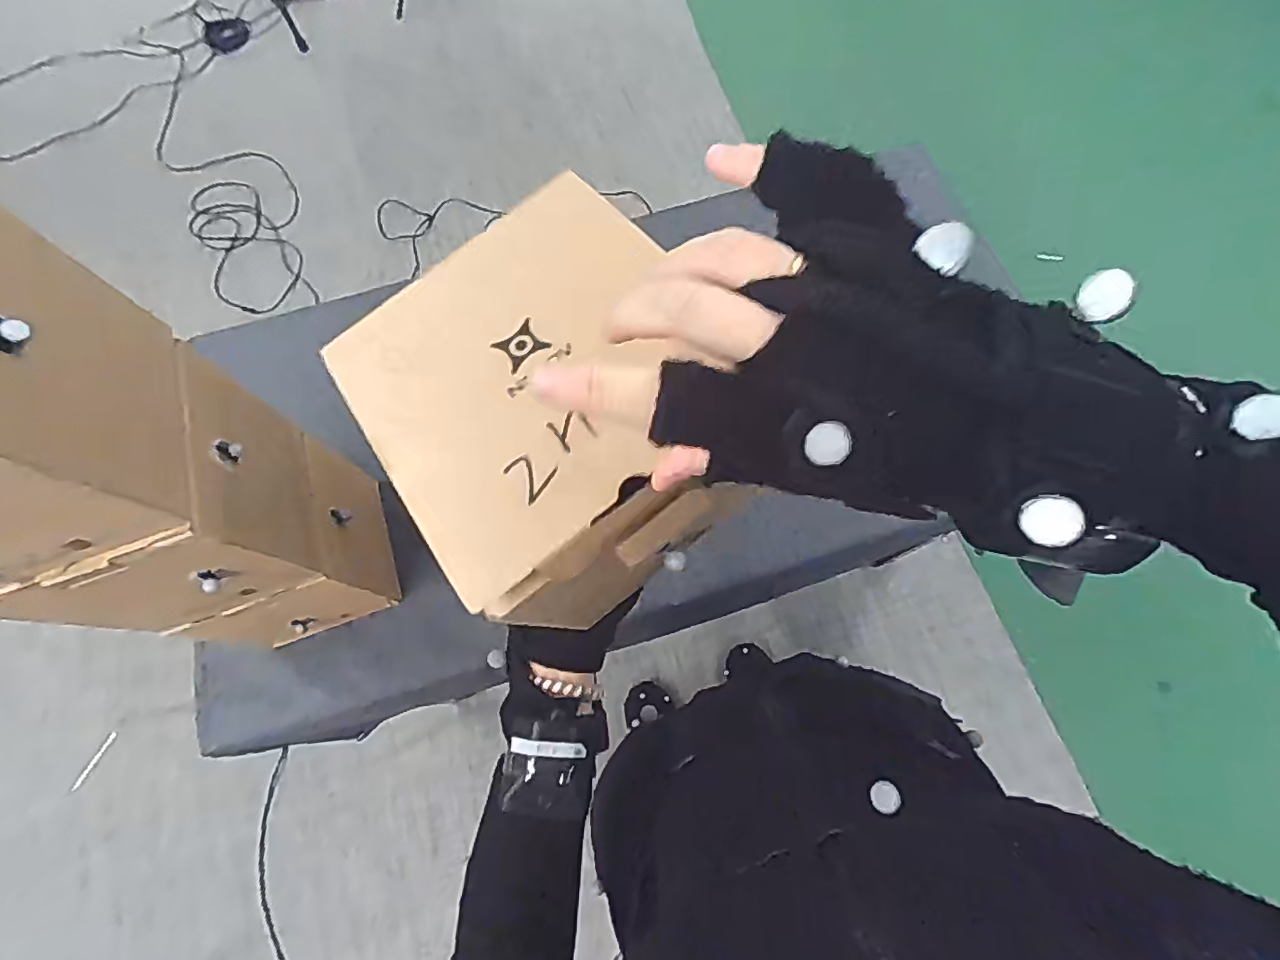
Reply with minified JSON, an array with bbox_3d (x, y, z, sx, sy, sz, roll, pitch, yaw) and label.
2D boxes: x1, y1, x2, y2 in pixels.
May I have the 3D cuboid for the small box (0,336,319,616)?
[{"bbox_3d":[-0.414,0.012,0.475,0.168,0.176,0.179,-19,70,-5],"label":"small box"}]

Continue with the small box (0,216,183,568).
[{"bbox_3d":[-0.422,-0.051,0.324,0.168,0.176,0.179,-20,70,-6],"label":"small box"}]

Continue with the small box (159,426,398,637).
[{"bbox_3d":[-0.408,0.069,0.628,0.168,0.176,0.179,-20,71,-5],"label":"small box"}]

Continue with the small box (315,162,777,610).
[{"bbox_3d":[-0.042,-0.035,0.331,0.168,0.176,0.179,-38,73,-2],"label":"small box"}]
